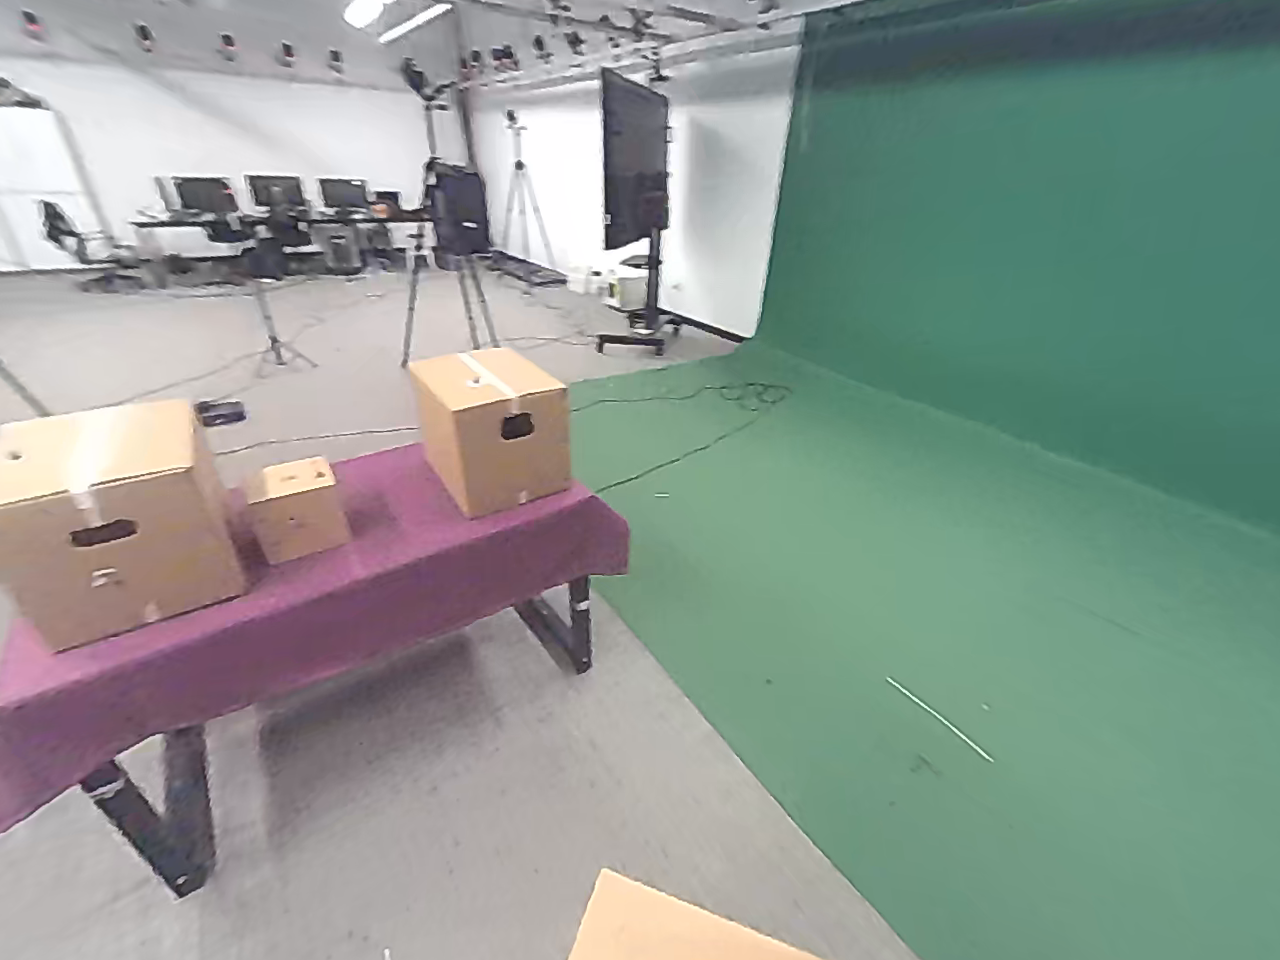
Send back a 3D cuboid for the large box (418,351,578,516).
[{"bbox_3d":[-0.411,-0.152,1.561,0.320,0.320,0.408,-17,37,-30],"label":"large box"}]
